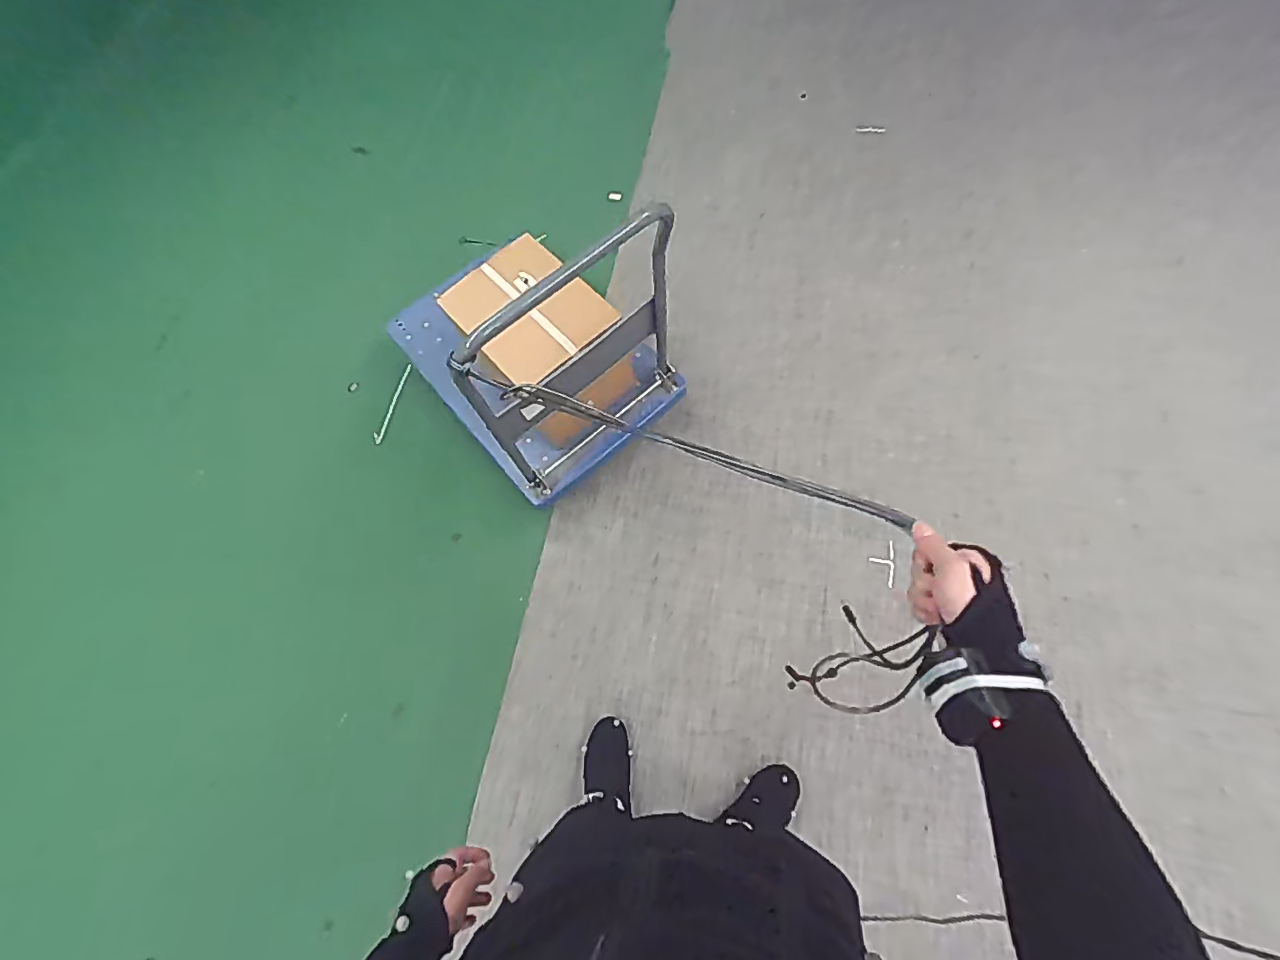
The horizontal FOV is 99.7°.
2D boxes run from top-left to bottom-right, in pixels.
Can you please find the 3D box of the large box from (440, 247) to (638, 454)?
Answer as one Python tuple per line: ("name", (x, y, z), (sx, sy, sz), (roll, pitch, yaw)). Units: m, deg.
("large box", (-0.262, -0.350, 1.499), (0.320, 0.320, 0.408), (-40, 68, -11))
